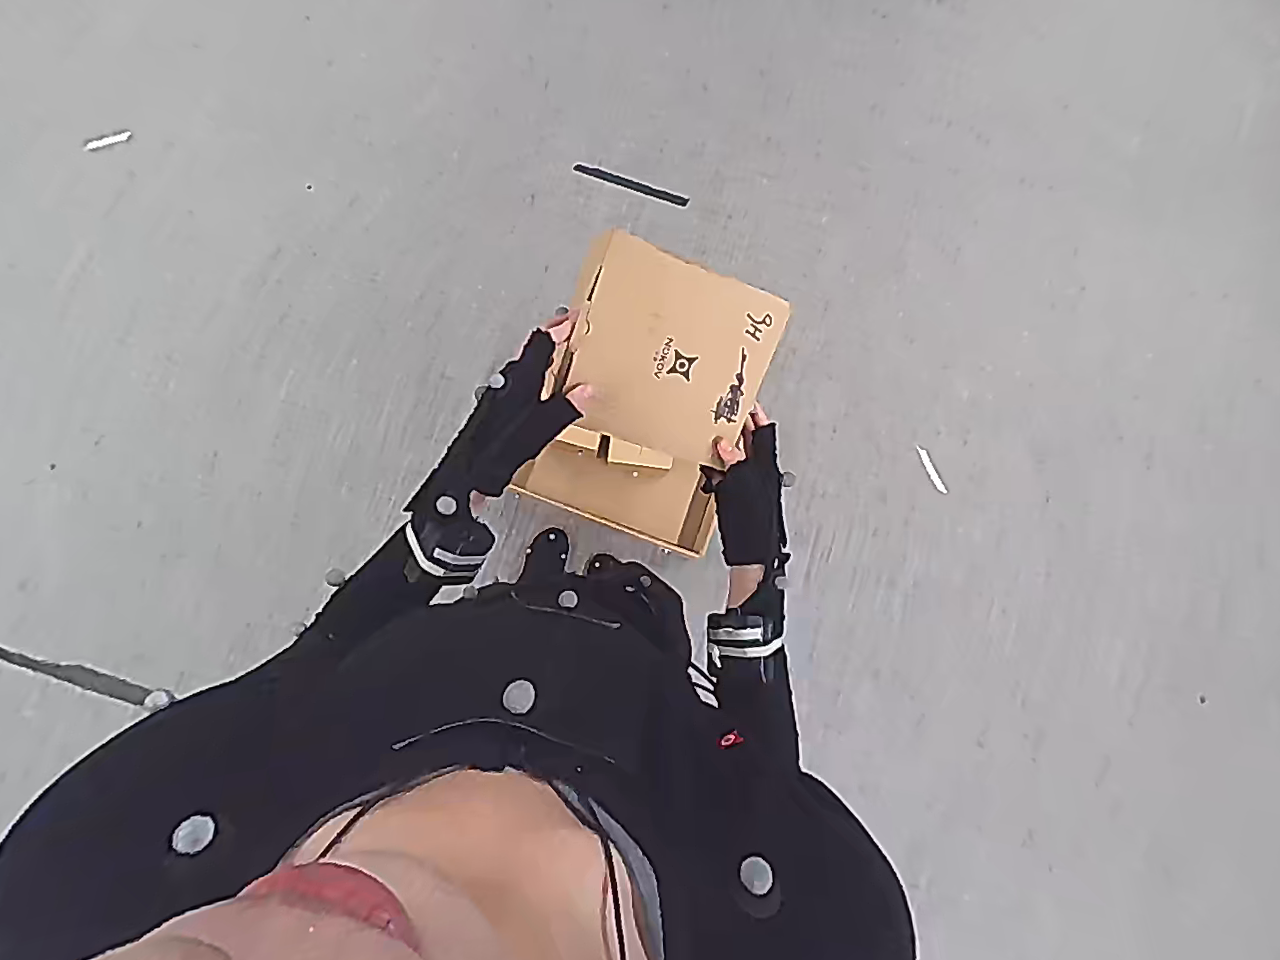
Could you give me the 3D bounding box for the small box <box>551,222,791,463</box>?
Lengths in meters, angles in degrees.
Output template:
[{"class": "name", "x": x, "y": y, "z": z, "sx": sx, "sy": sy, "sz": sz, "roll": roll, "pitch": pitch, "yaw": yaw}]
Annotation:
[{"class": "small box", "x": 0.014, "y": -0.136, "z": 0.550, "sx": 0.179, "sy": 0.176, "sz": 0.168, "roll": 16, "pitch": 105, "yaw": -16}]
